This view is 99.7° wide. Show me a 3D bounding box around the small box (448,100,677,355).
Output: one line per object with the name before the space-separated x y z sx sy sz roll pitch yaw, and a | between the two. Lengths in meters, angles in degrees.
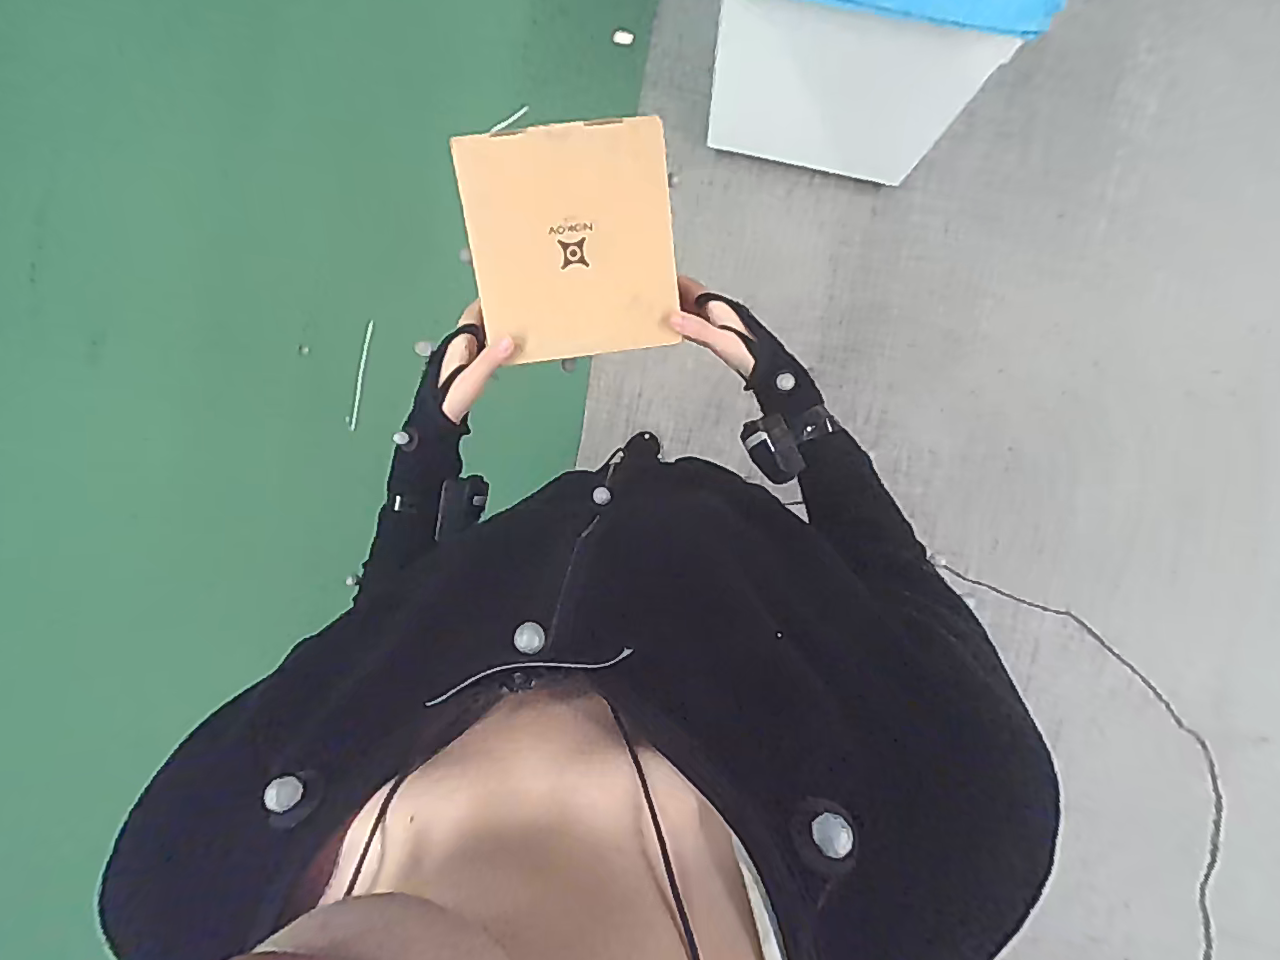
small box | -0.060 -0.216 0.504 0.168 0.176 0.179 -6 105 -2
